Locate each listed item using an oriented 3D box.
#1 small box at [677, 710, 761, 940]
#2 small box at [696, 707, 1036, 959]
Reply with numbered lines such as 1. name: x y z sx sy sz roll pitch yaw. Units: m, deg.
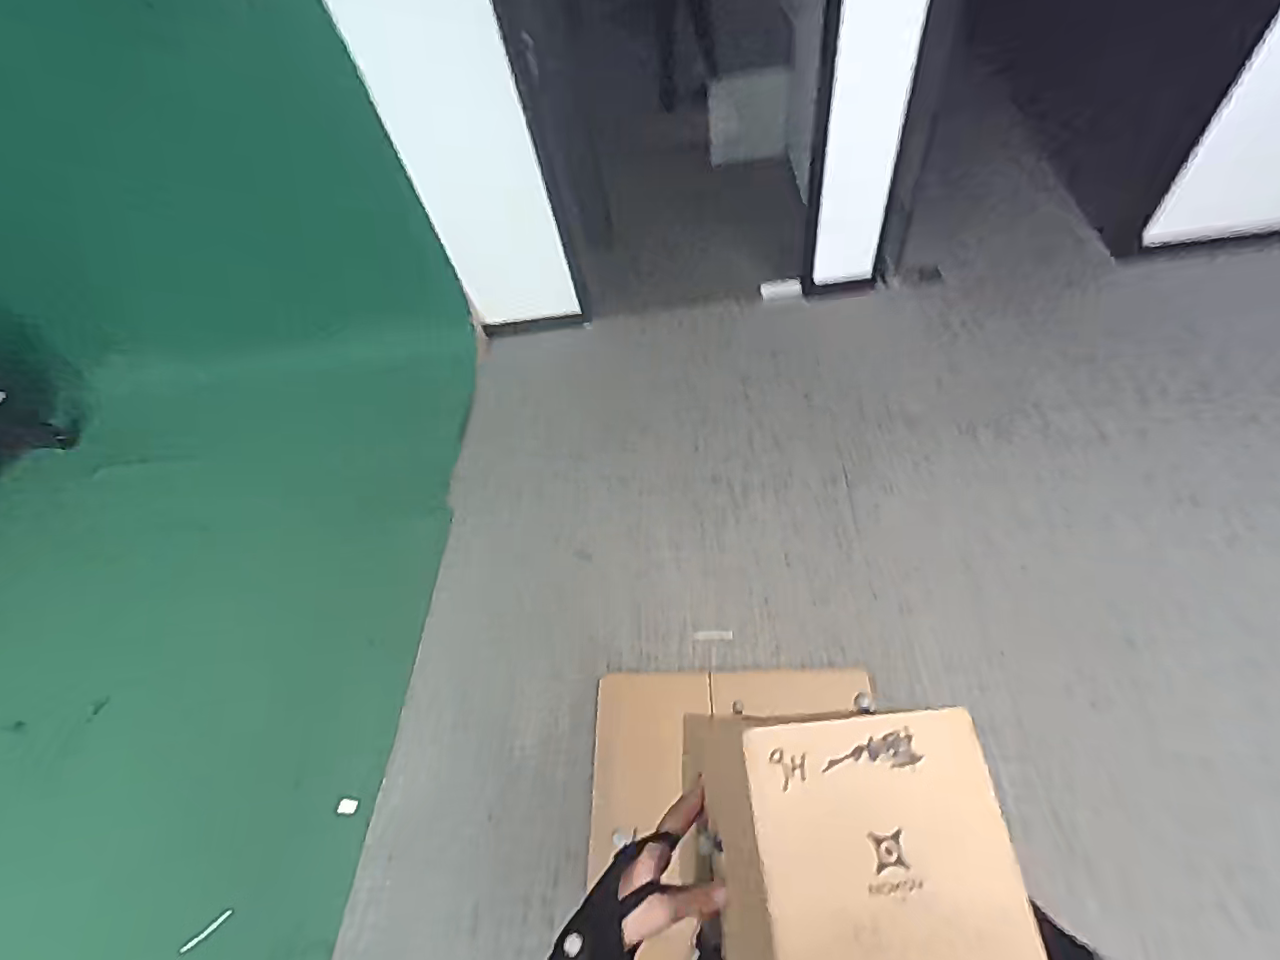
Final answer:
1. small box: 0.131 0.338 0.555 0.168 0.176 0.179 5 66 -2
2. small box: 0.143 0.270 0.406 0.168 0.176 0.179 -2 67 -6
